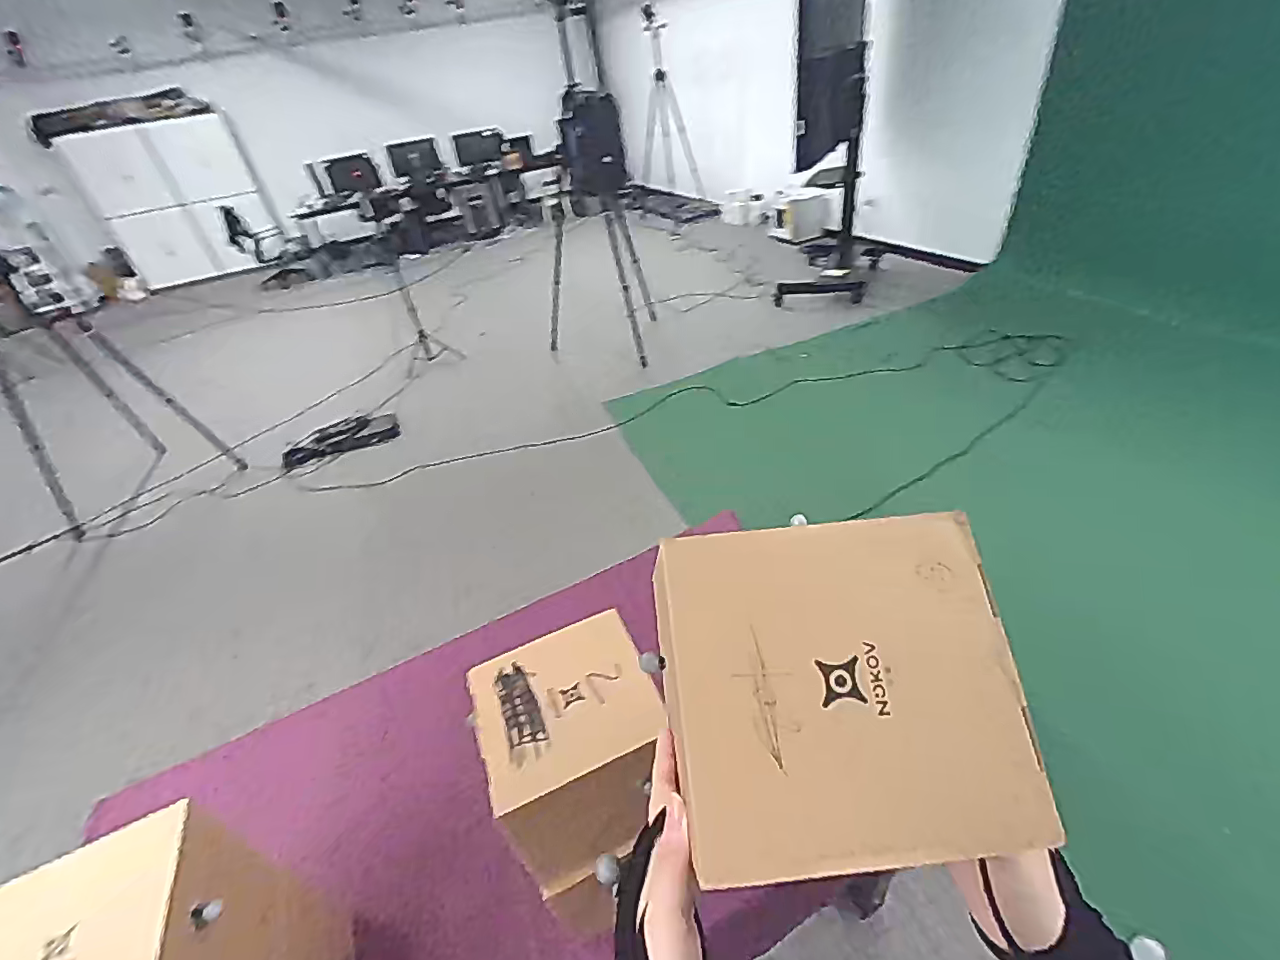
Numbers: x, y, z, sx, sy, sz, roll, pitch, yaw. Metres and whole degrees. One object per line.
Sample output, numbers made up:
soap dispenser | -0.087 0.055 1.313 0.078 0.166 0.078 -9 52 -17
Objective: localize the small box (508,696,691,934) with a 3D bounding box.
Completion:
small box | -0.045 0.420 0.681 0.179 0.176 0.168 -21 38 -15

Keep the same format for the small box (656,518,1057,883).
small box | 0.105 0.128 0.352 0.179 0.176 0.168 -5 71 -1

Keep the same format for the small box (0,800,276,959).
small box | -0.453 0.439 0.478 0.168 0.176 0.179 -23 39 -17
